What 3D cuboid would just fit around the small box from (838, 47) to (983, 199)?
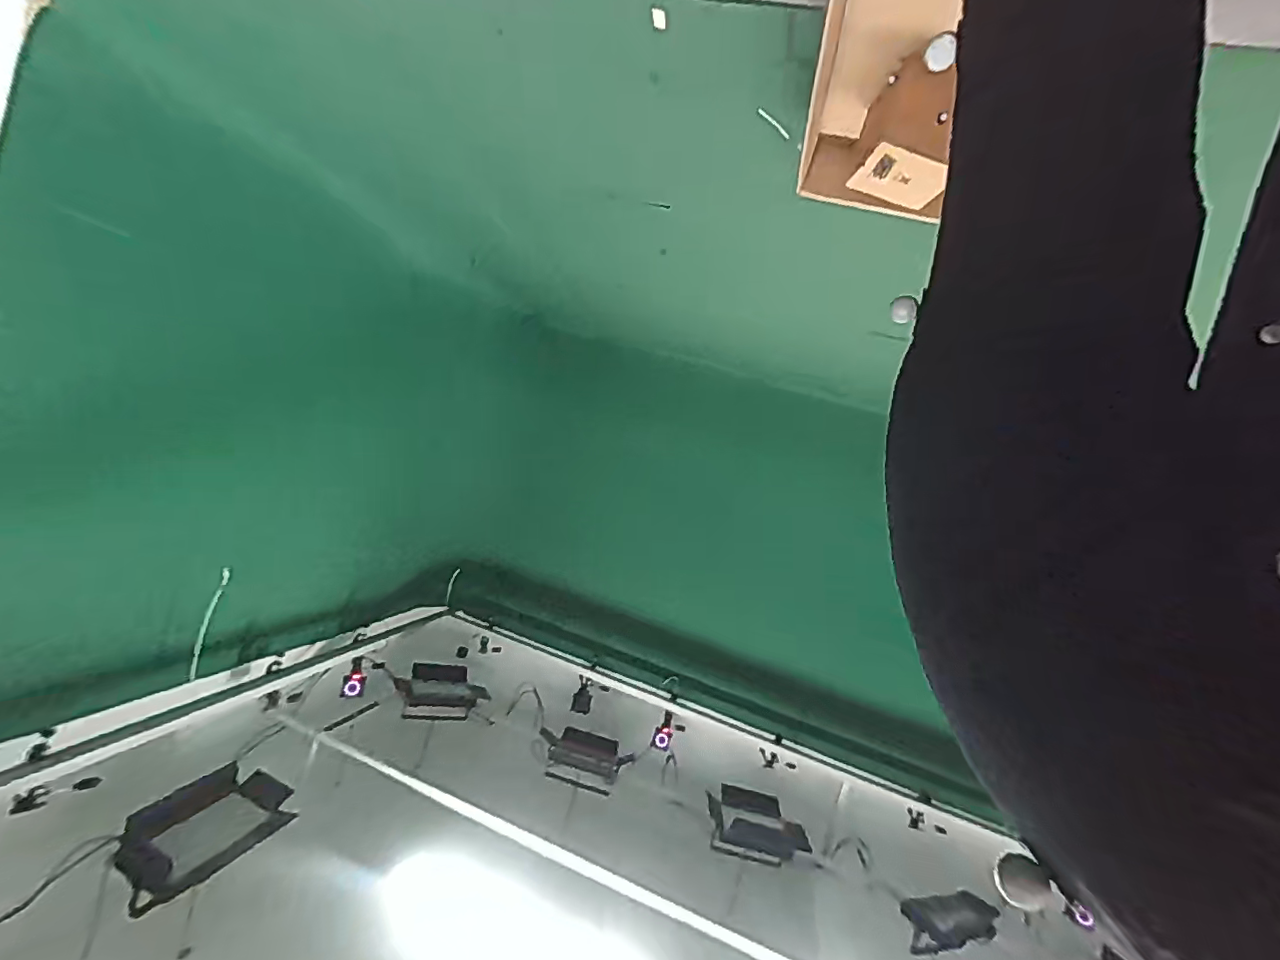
[{"bbox_3d":[0.533,-0.707,1.078,0.179,0.176,0.168,17,-179,-5],"label":"small box"}]
